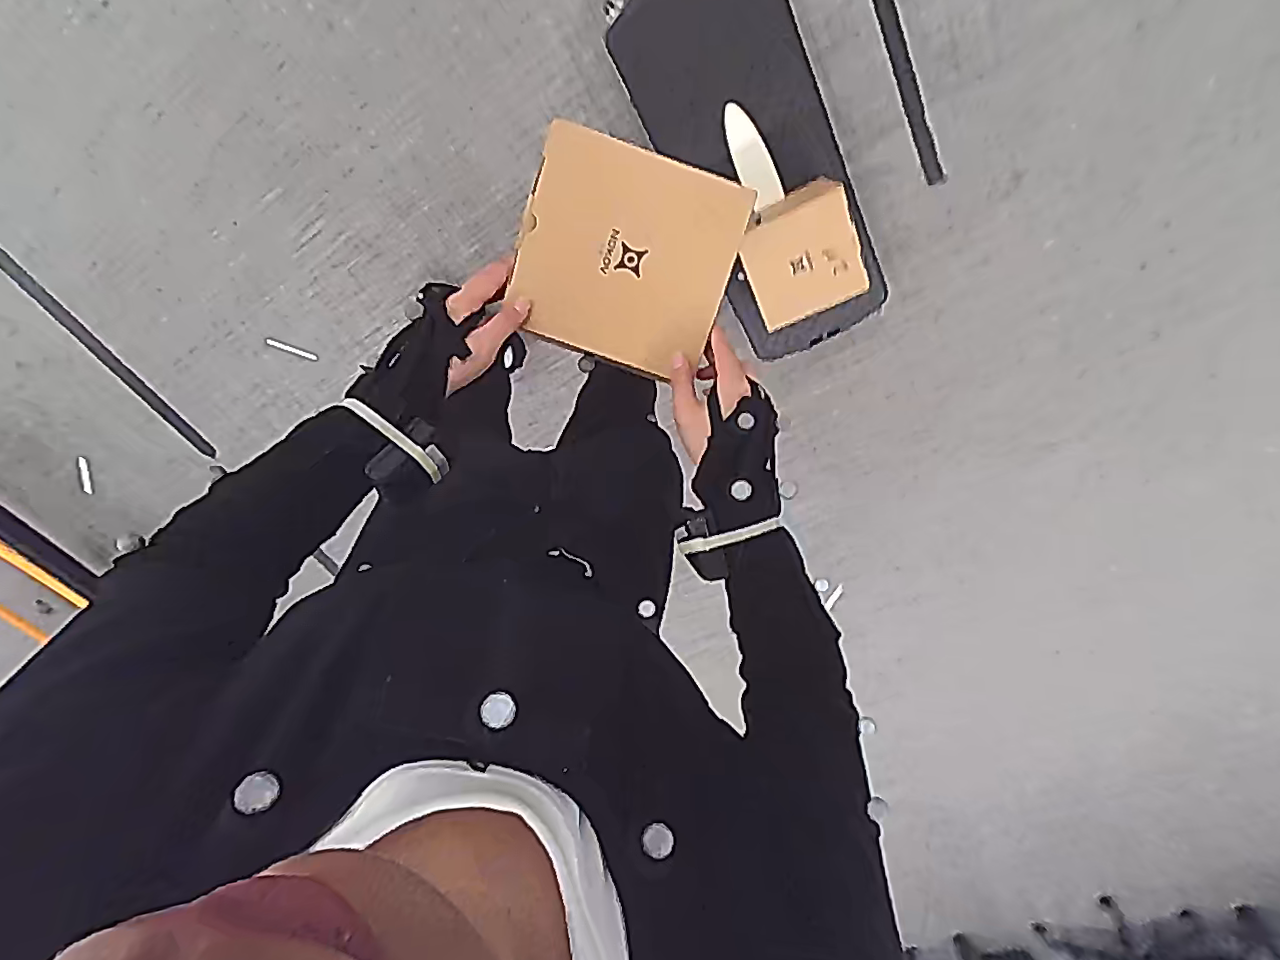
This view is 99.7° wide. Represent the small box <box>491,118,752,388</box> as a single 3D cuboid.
[{"bbox_3d":[-0.017,-0.196,0.517,0.179,0.176,0.168,18,100,-3],"label":"small box"}]

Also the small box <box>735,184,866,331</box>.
[{"bbox_3d":[0.265,-0.387,0.937,0.179,0.176,0.168,-20,119,17],"label":"small box"}]
